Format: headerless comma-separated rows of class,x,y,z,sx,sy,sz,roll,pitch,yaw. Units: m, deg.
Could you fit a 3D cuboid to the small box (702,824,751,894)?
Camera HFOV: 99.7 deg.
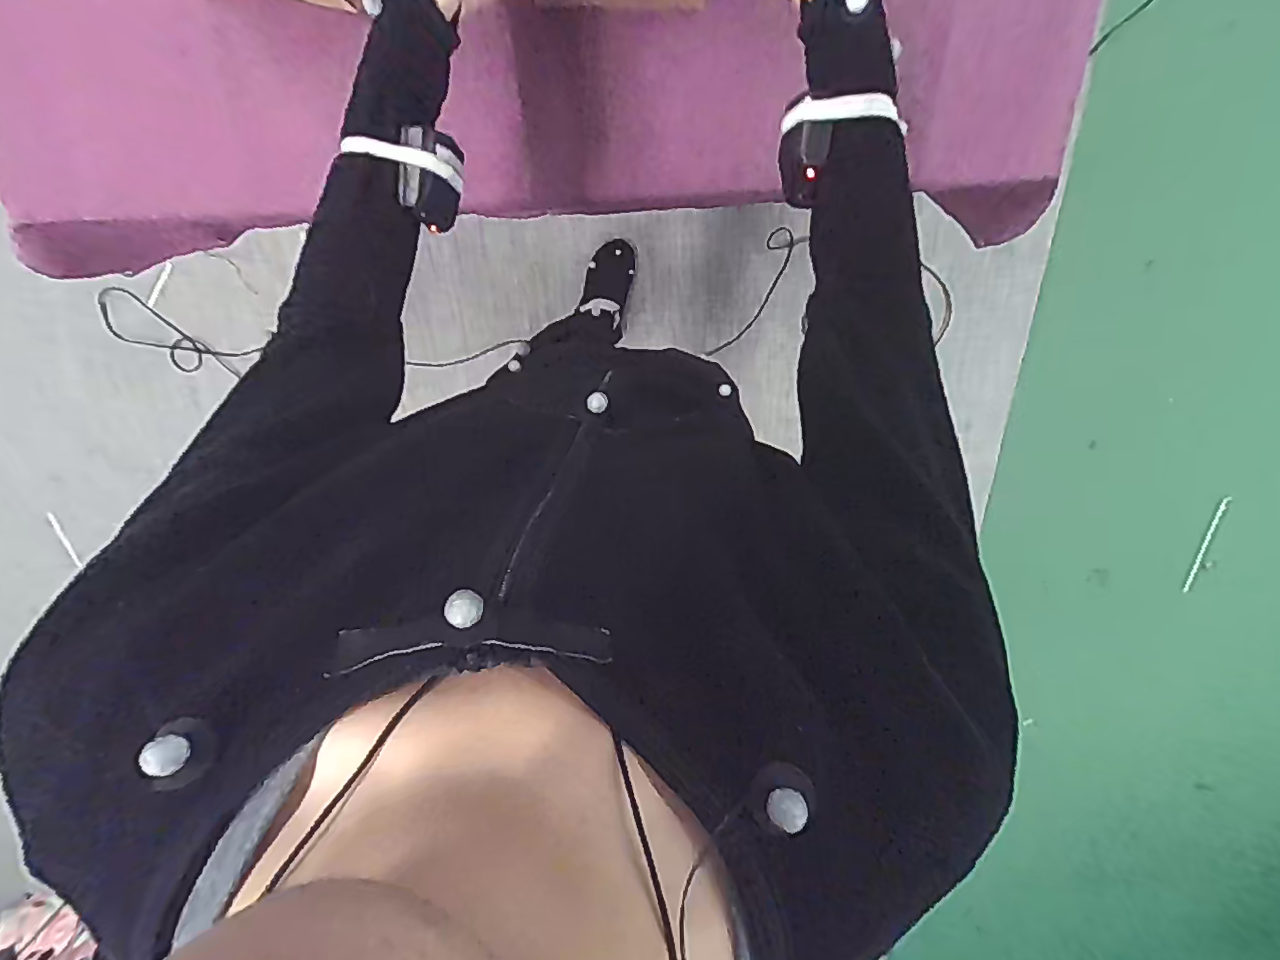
small box,0.349,1.546,2.210,0.179,0.176,0.168,-7,114,-1
